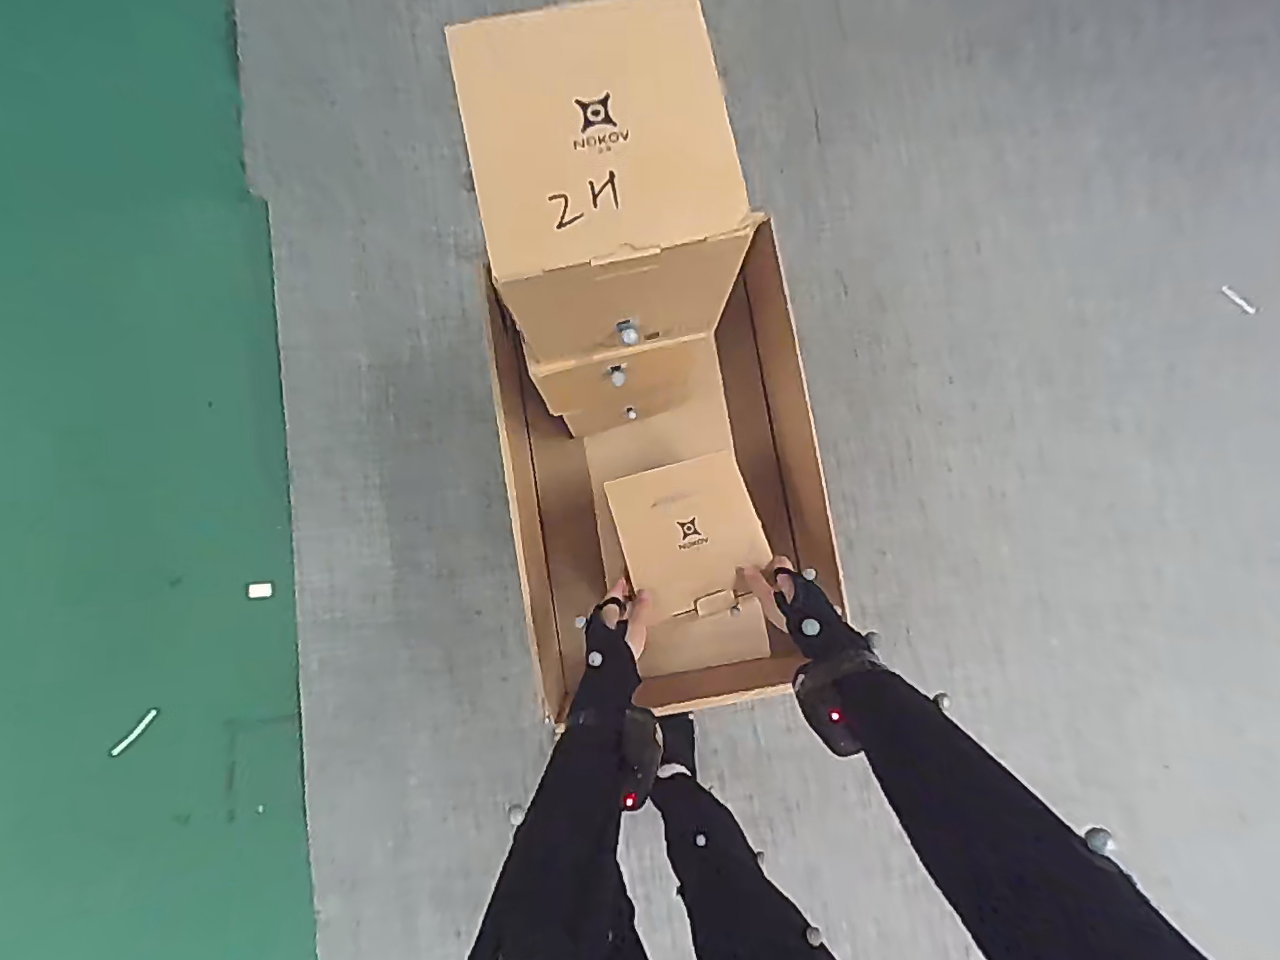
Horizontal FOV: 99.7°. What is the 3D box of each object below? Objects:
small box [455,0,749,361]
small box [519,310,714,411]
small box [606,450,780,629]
[{"bbox_3d":[-0.027,-0.214,0.427,0.168,0.176,0.179,-11,85,-1],"label":"small box"},{"bbox_3d":[-0.034,-0.186,0.590,0.179,0.176,0.168,-14,85,-1],"label":"small box"},{"bbox_3d":[0.058,0.087,0.703,0.168,0.176,0.179,-14,70,-8],"label":"small box"}]
